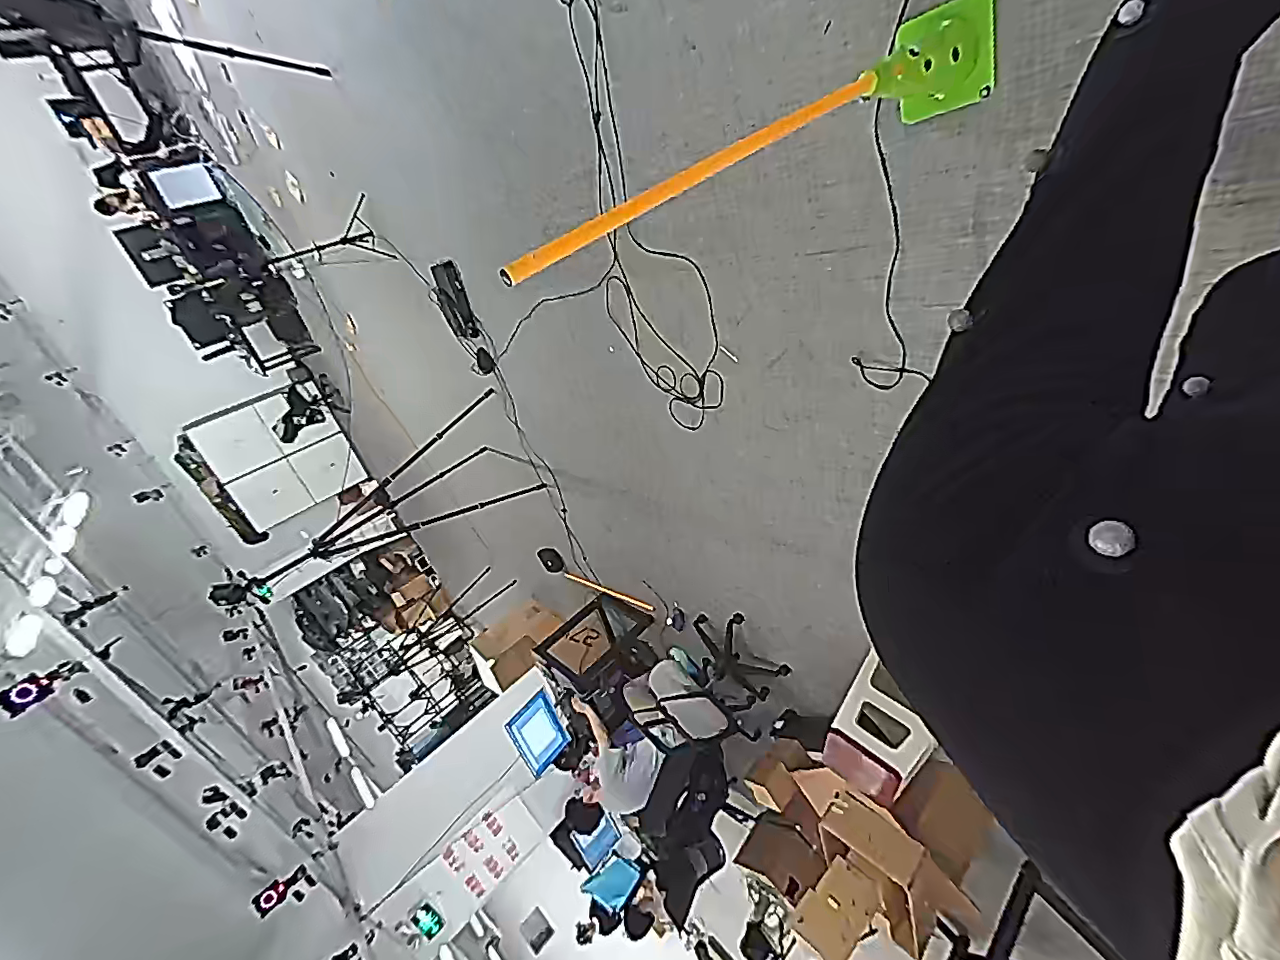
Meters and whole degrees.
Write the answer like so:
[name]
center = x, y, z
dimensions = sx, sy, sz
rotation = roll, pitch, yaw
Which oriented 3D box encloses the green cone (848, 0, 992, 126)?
[green cone]
center = 0.554, -0.850, 1.131
dimensions = 0.202, 0.368, 0.200
rotation = 14, 131, 50
